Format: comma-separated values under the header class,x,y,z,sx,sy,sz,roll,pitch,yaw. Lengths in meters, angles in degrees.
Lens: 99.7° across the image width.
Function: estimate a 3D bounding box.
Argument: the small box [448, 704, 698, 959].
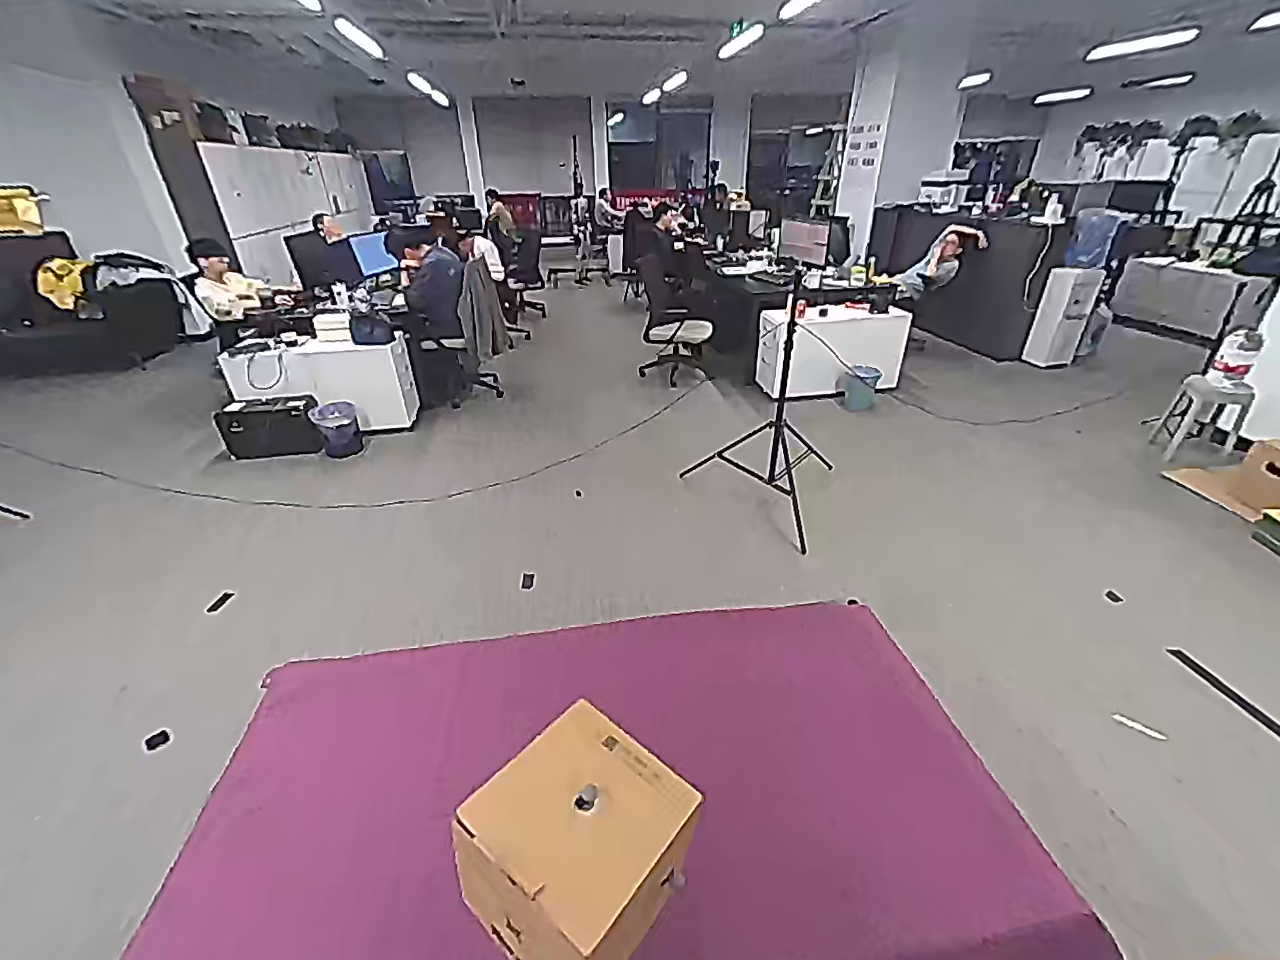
class,x,y,z,sx,sy,sz,roll,pitch,yaw
small box,-0.061,0.361,0.527,0.168,0.179,0.176,27,37,30
